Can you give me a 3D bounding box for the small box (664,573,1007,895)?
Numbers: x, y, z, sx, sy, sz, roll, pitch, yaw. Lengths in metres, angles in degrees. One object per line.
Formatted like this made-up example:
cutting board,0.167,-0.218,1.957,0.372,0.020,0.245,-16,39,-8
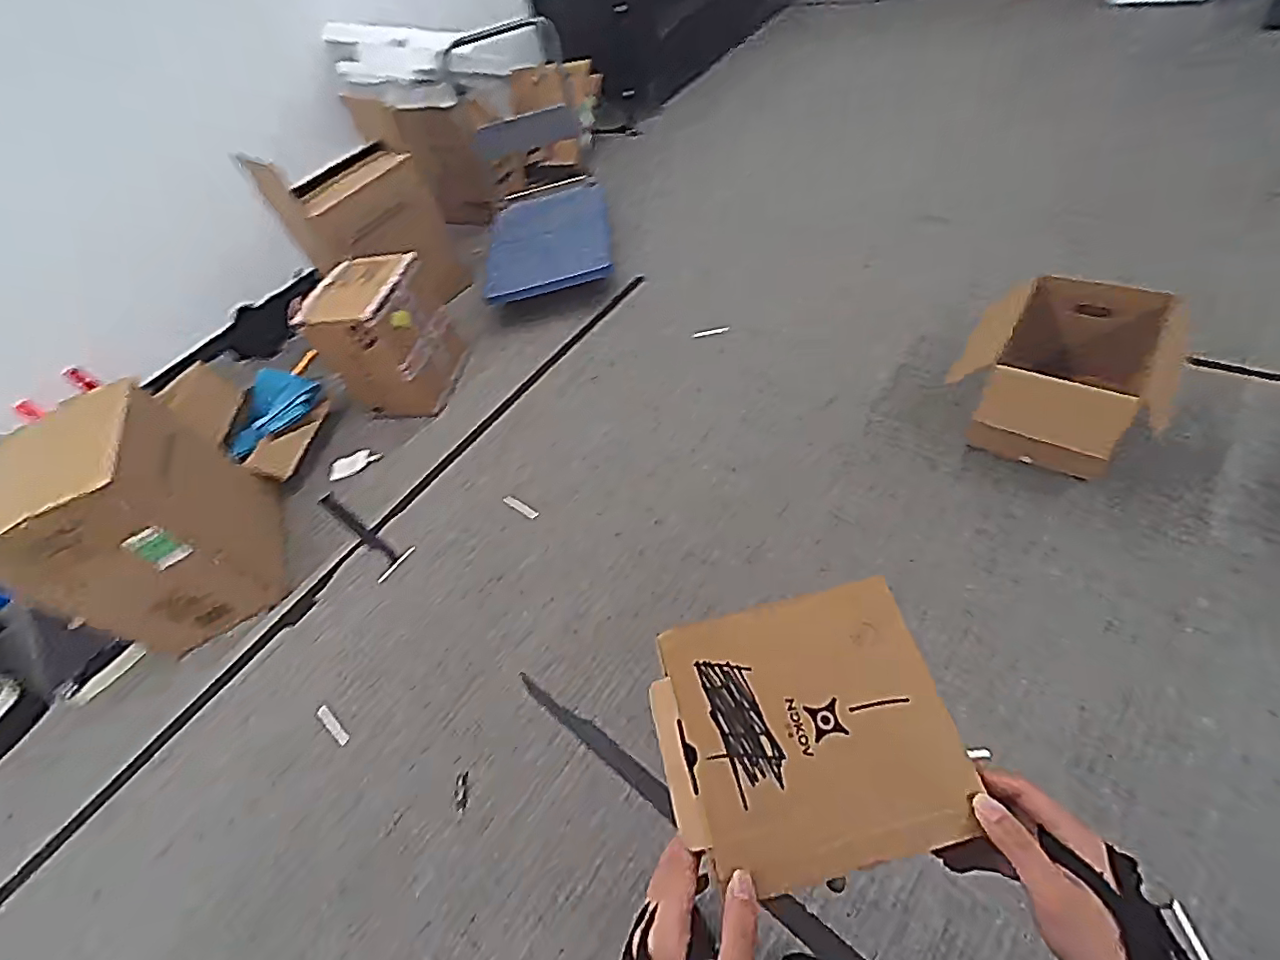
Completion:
small box,0.124,0.194,0.423,0.179,0.176,0.168,-13,61,-3
